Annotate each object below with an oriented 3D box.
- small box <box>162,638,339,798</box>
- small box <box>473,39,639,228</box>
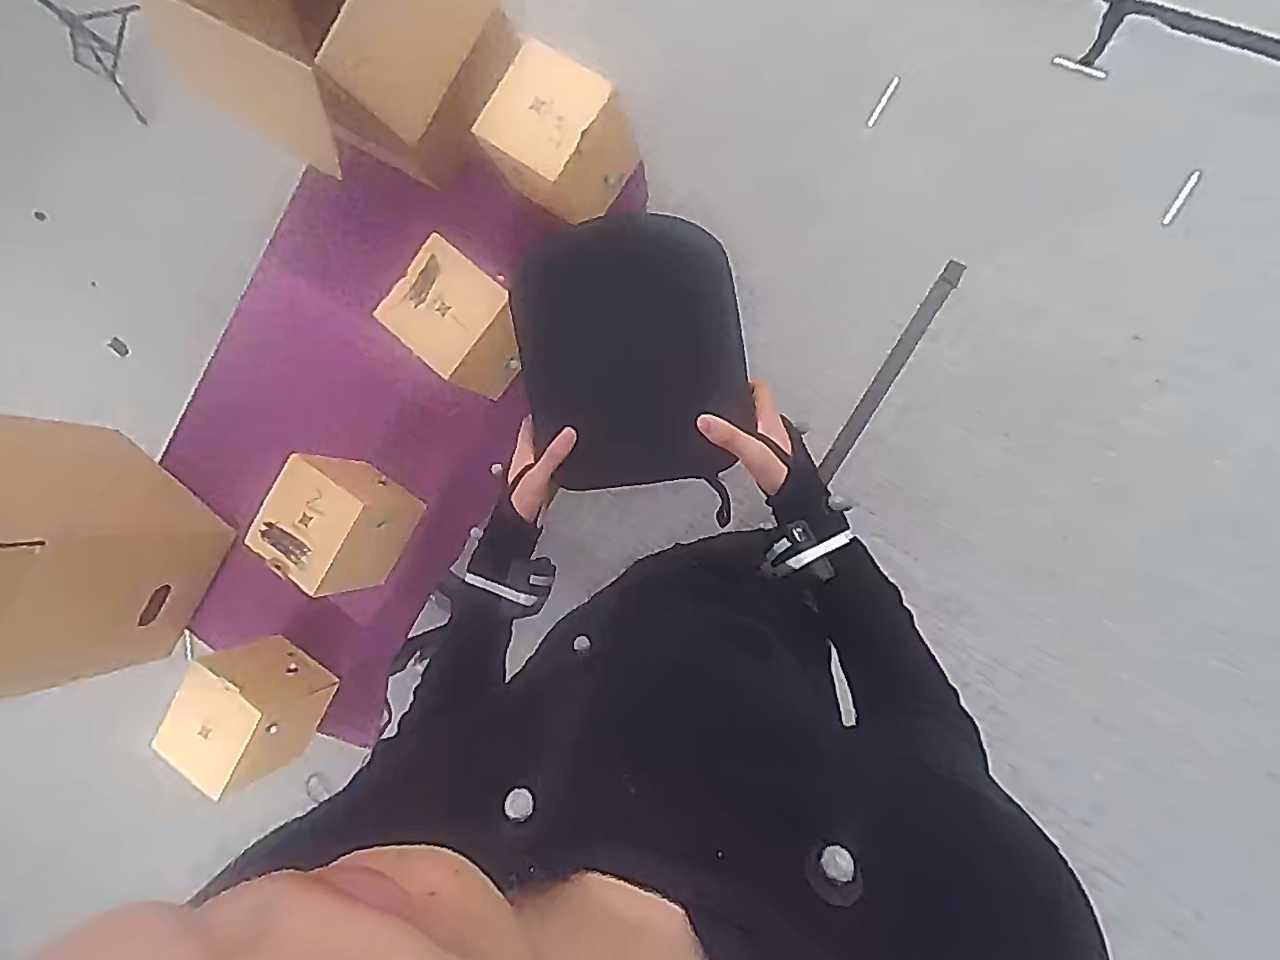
[{"bbox_3d":[-0.688,0.414,0.975,0.168,0.176,0.179,29,93,13],"label":"small box"},{"bbox_3d":[-0.129,-0.551,0.886,0.179,0.176,0.168,37,97,12],"label":"small box"}]
